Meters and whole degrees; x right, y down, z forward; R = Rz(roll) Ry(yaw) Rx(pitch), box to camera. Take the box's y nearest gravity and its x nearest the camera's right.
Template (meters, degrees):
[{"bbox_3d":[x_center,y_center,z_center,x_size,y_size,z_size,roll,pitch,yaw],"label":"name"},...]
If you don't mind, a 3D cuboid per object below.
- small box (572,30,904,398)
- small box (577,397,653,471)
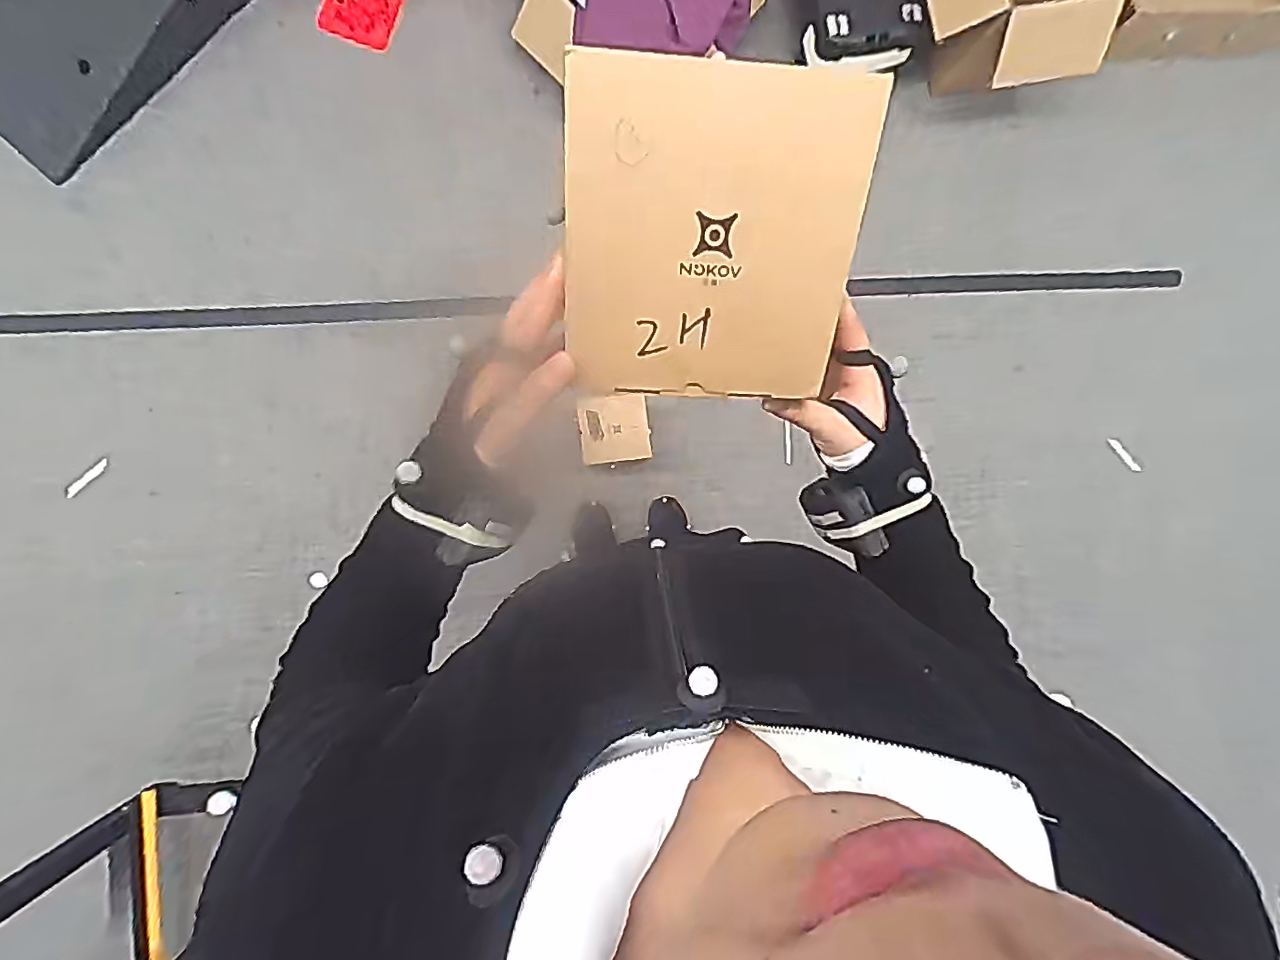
[{"bbox_3d":[0.041,-0.170,0.369,0.168,0.176,0.179,2,119,-3],"label":"small box"},{"bbox_3d":[-0.065,-0.116,1.419,0.179,0.176,0.168,-7,90,-4],"label":"small box"}]
